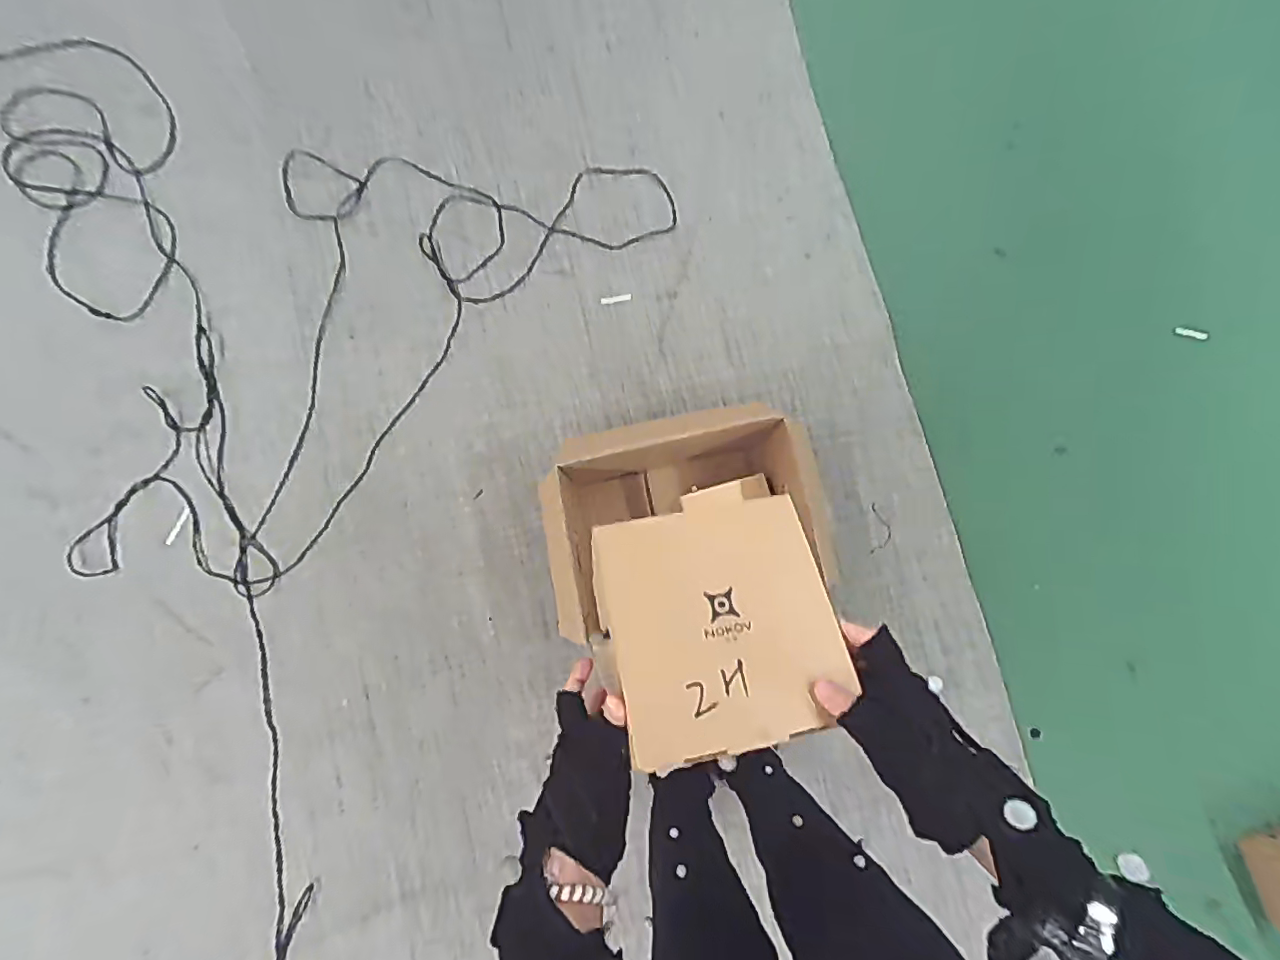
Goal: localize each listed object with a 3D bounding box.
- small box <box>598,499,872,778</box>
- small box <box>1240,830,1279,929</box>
[{"bbox_3d":[0.056,0.138,0.459,0.168,0.176,0.179,-9,64,-7],"label":"small box"},{"bbox_3d":[1.350,0.813,1.044,0.168,0.176,0.179,-16,82,-3],"label":"small box"}]
